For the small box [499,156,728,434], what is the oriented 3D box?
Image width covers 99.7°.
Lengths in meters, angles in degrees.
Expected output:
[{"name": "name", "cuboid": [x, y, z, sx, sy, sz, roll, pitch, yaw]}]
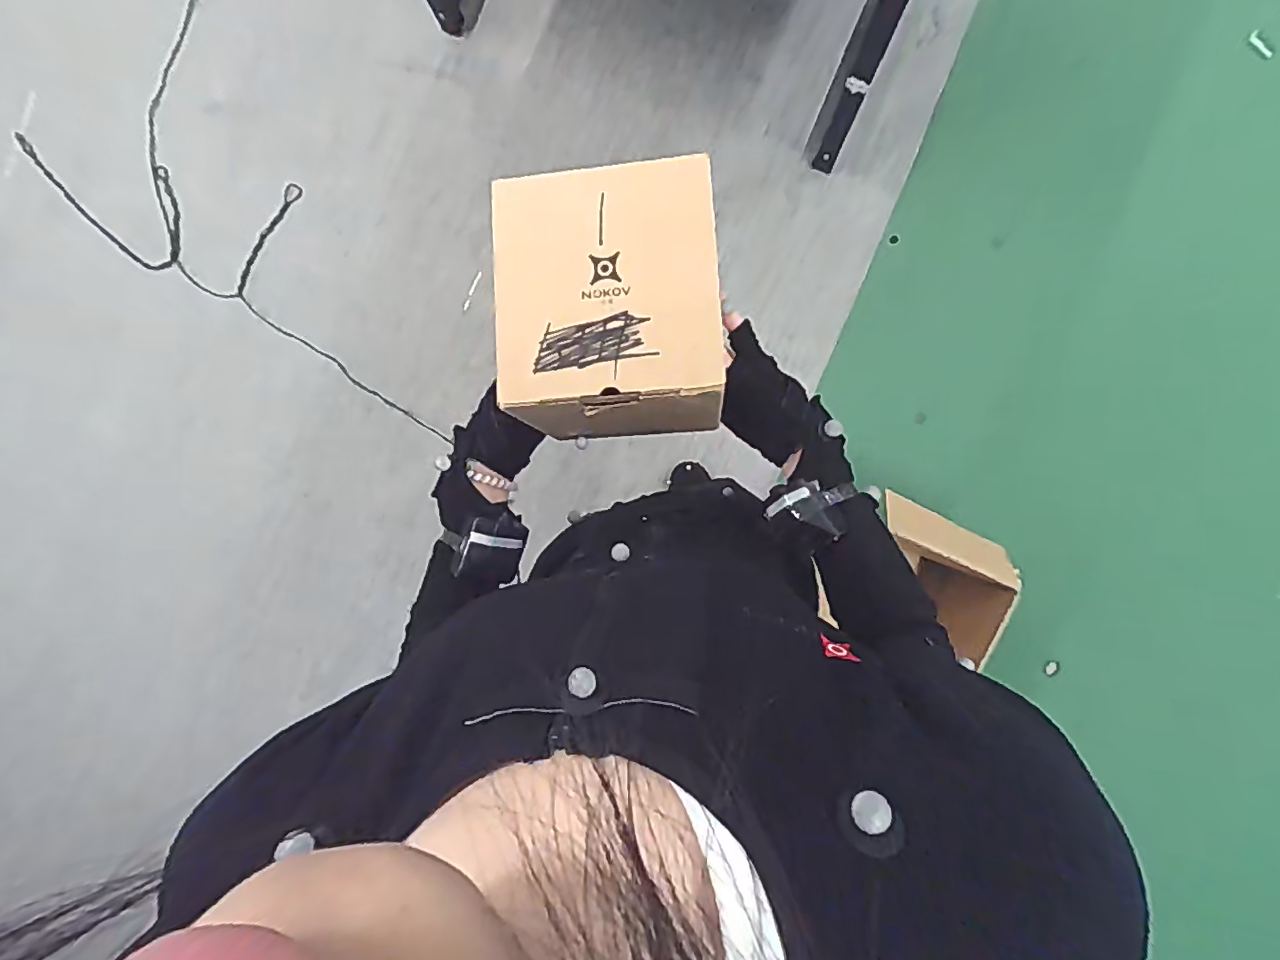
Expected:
[{"name": "small box", "cuboid": [-0.013, -0.138, 0.471, 0.168, 0.176, 0.179, -4, 85, 5]}]
